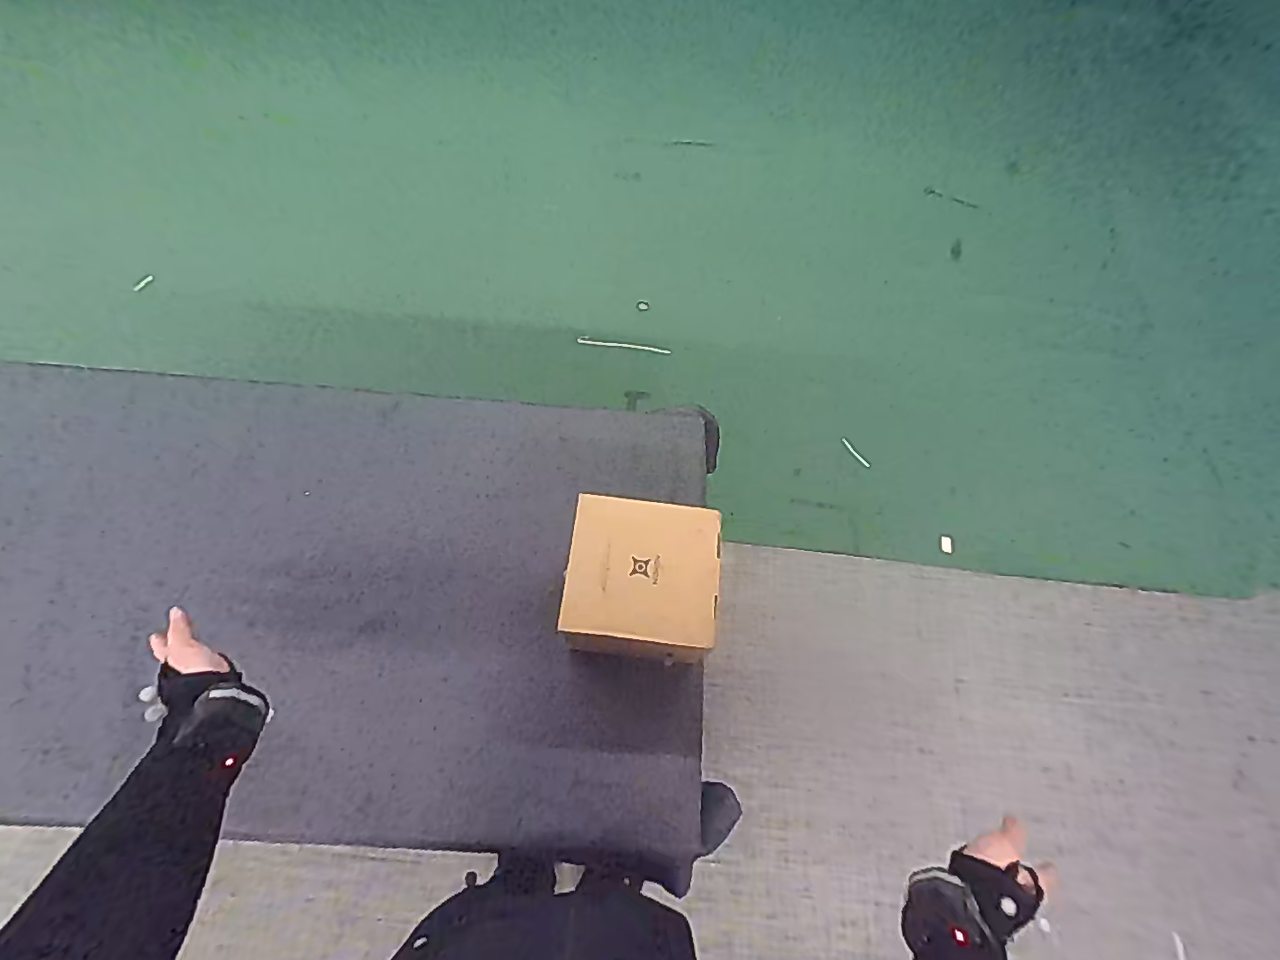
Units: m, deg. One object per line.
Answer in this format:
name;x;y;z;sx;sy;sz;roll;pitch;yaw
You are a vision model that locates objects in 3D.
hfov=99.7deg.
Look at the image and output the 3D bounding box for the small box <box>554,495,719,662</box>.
small box;-0.003;0.133;0.689;0.179;0.176;0.168;6;65;1
